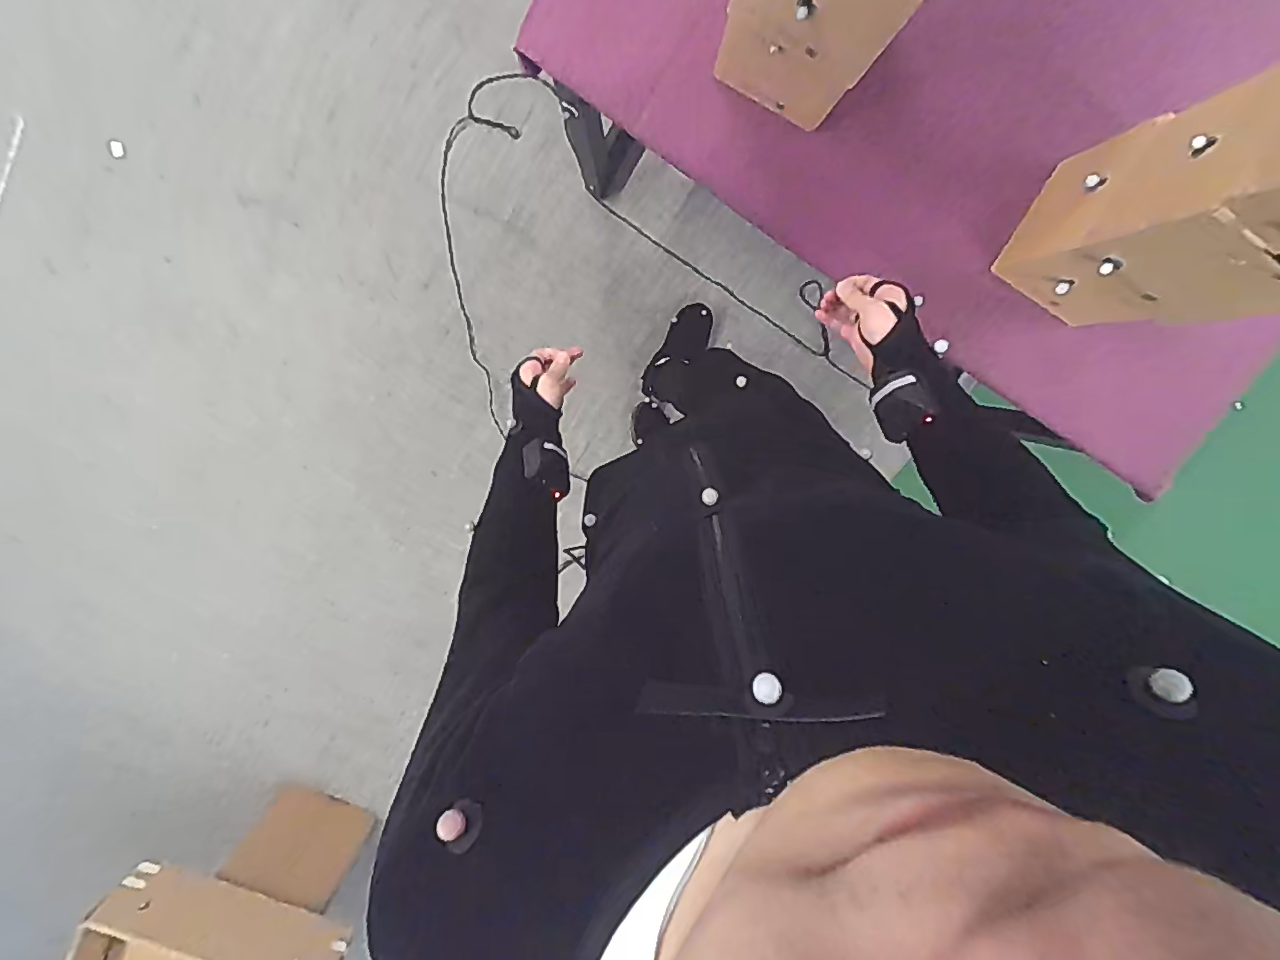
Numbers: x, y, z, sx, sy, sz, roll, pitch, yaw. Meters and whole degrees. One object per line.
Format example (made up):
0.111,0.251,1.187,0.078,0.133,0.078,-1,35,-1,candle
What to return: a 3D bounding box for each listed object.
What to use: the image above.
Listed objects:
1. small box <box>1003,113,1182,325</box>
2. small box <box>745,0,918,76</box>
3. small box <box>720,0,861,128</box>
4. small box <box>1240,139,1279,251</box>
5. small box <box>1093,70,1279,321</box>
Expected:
0.634,-0.325,0.719,0.168,0.176,0.179,30,99,-6,small box
0.207,-0.530,0.498,0.168,0.176,0.179,27,101,-7,small box
0.212,-0.582,0.656,0.168,0.176,0.179,26,101,-6,small box
0.637,-0.257,0.399,0.168,0.176,0.179,33,99,-7,small box
0.633,-0.284,0.560,0.168,0.176,0.179,32,98,-7,small box
